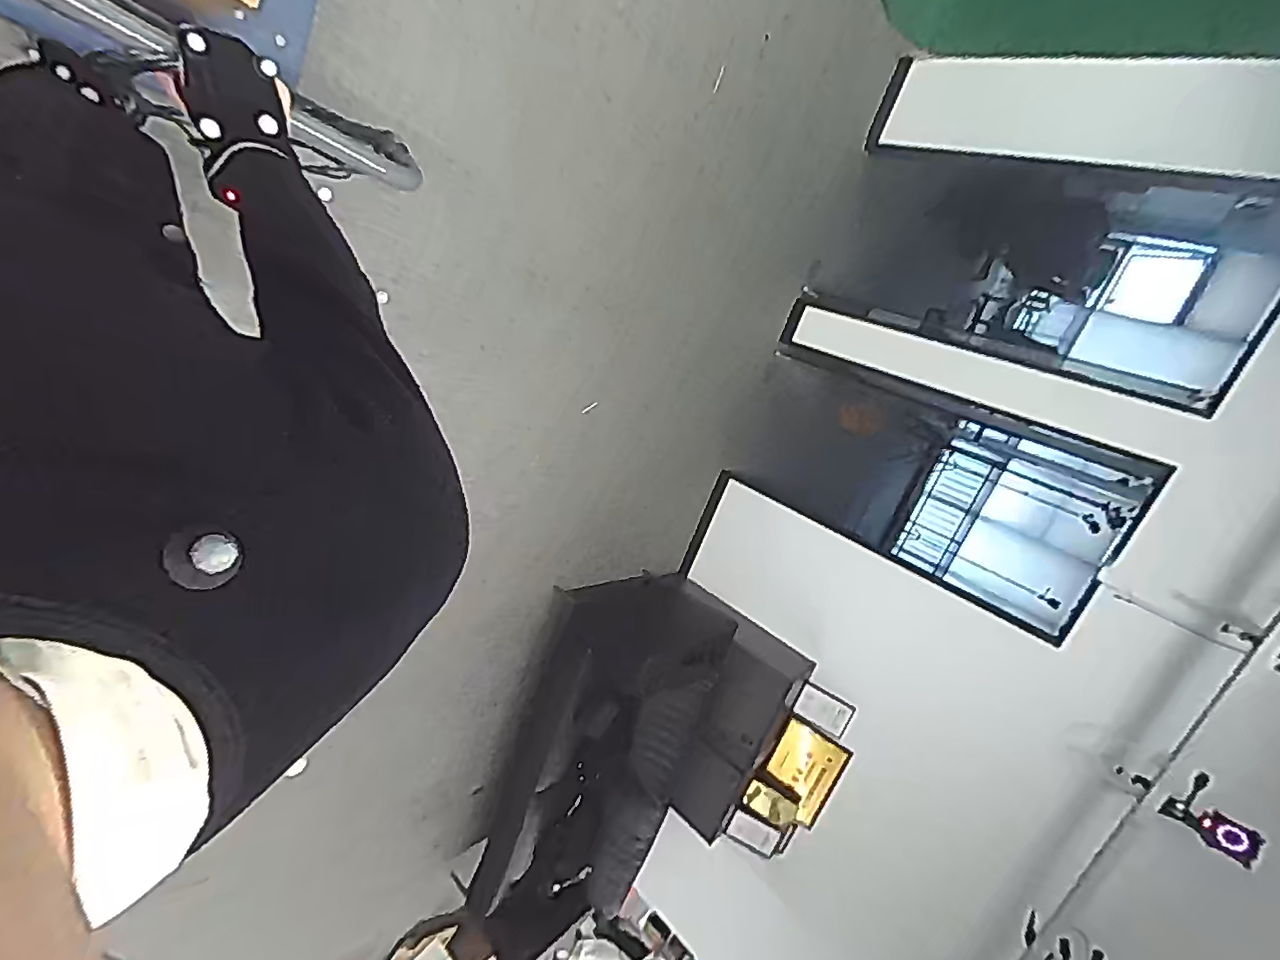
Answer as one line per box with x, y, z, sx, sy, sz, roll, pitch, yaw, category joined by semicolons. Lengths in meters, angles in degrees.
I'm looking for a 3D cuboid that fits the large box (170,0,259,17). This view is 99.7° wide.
-0.689;-0.946;0.721;0.320;0.320;0.408;8;108;-56;large box
